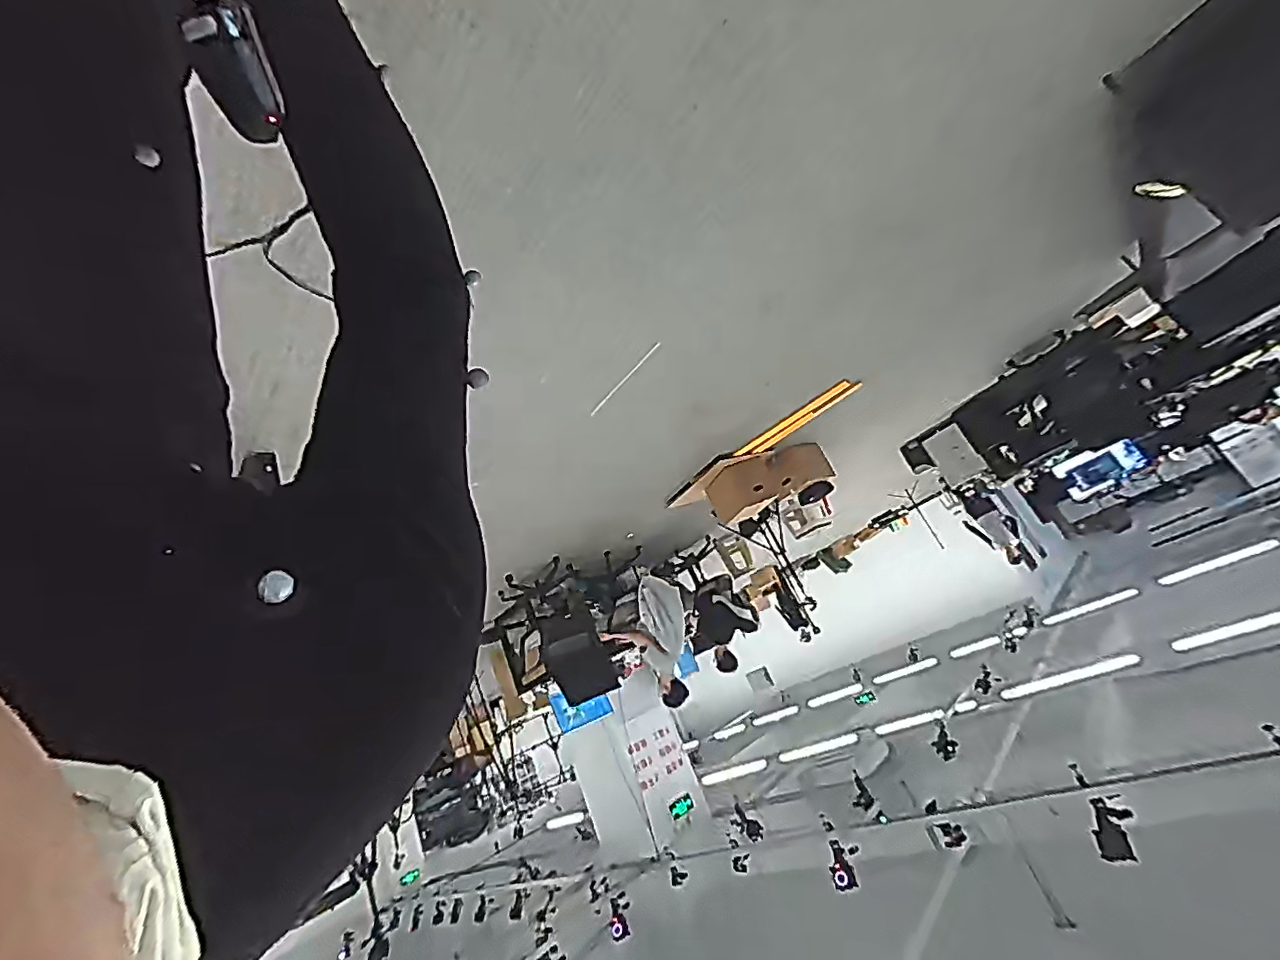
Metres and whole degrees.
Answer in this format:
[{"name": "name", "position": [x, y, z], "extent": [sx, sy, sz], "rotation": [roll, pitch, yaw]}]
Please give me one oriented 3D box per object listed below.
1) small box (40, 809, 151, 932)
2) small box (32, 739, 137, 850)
[{"name": "small box", "position": [-1.262, 0.894, 1.250], "extent": [0.179, 0.176, 0.168], "rotation": [-39, 157, 34]}, {"name": "small box", "position": [-1.314, 0.738, 1.282], "extent": [0.168, 0.176, 0.179], "rotation": [-4, 151, -46]}]
